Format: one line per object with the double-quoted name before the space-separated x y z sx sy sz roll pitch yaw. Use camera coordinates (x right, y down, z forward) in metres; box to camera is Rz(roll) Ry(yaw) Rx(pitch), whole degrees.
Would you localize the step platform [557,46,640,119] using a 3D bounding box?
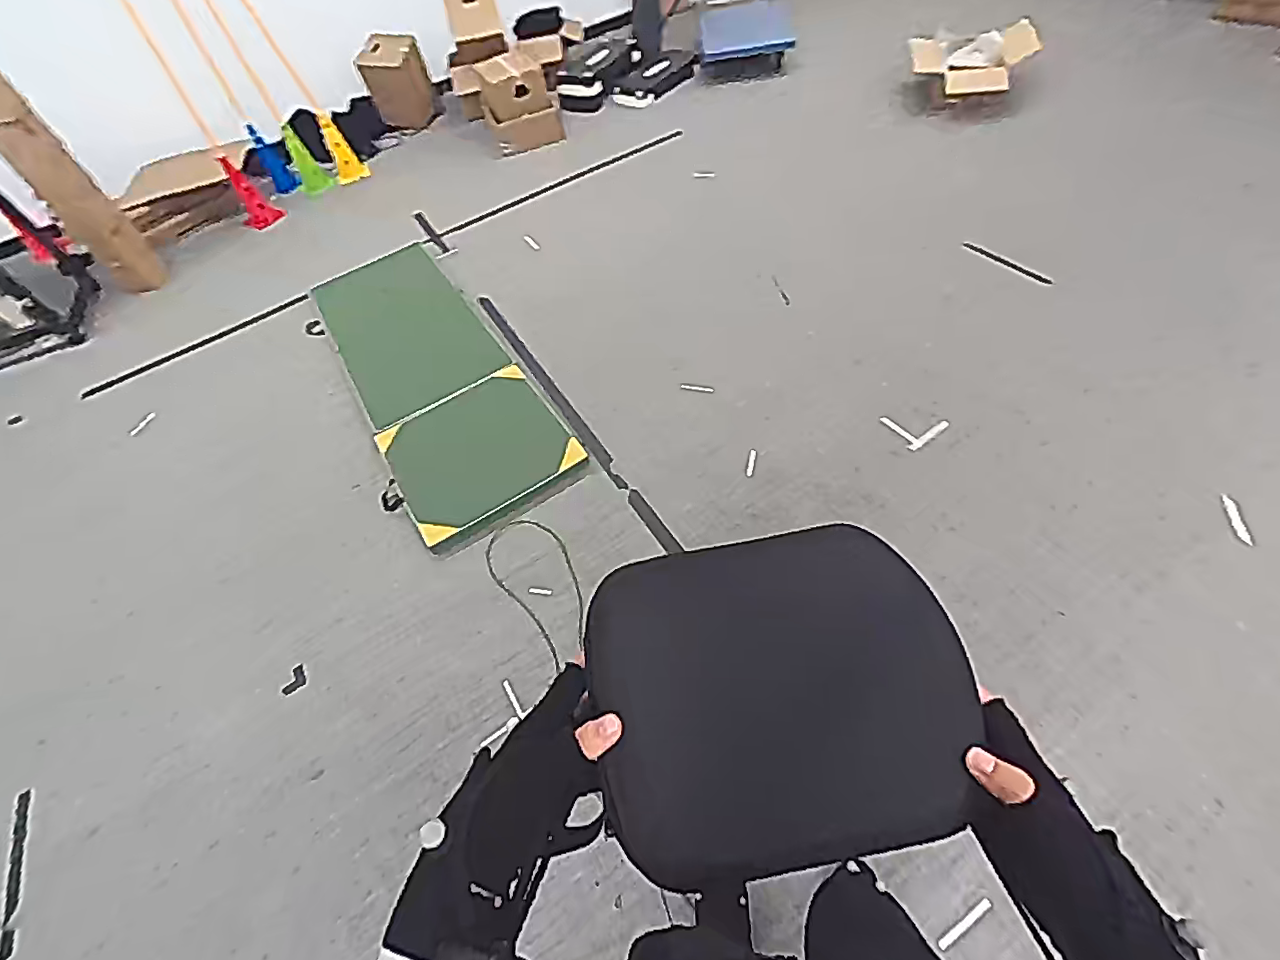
"step platform" -0.274 -2.711 3.672 0.286 0.204 0.684 20 61 21
